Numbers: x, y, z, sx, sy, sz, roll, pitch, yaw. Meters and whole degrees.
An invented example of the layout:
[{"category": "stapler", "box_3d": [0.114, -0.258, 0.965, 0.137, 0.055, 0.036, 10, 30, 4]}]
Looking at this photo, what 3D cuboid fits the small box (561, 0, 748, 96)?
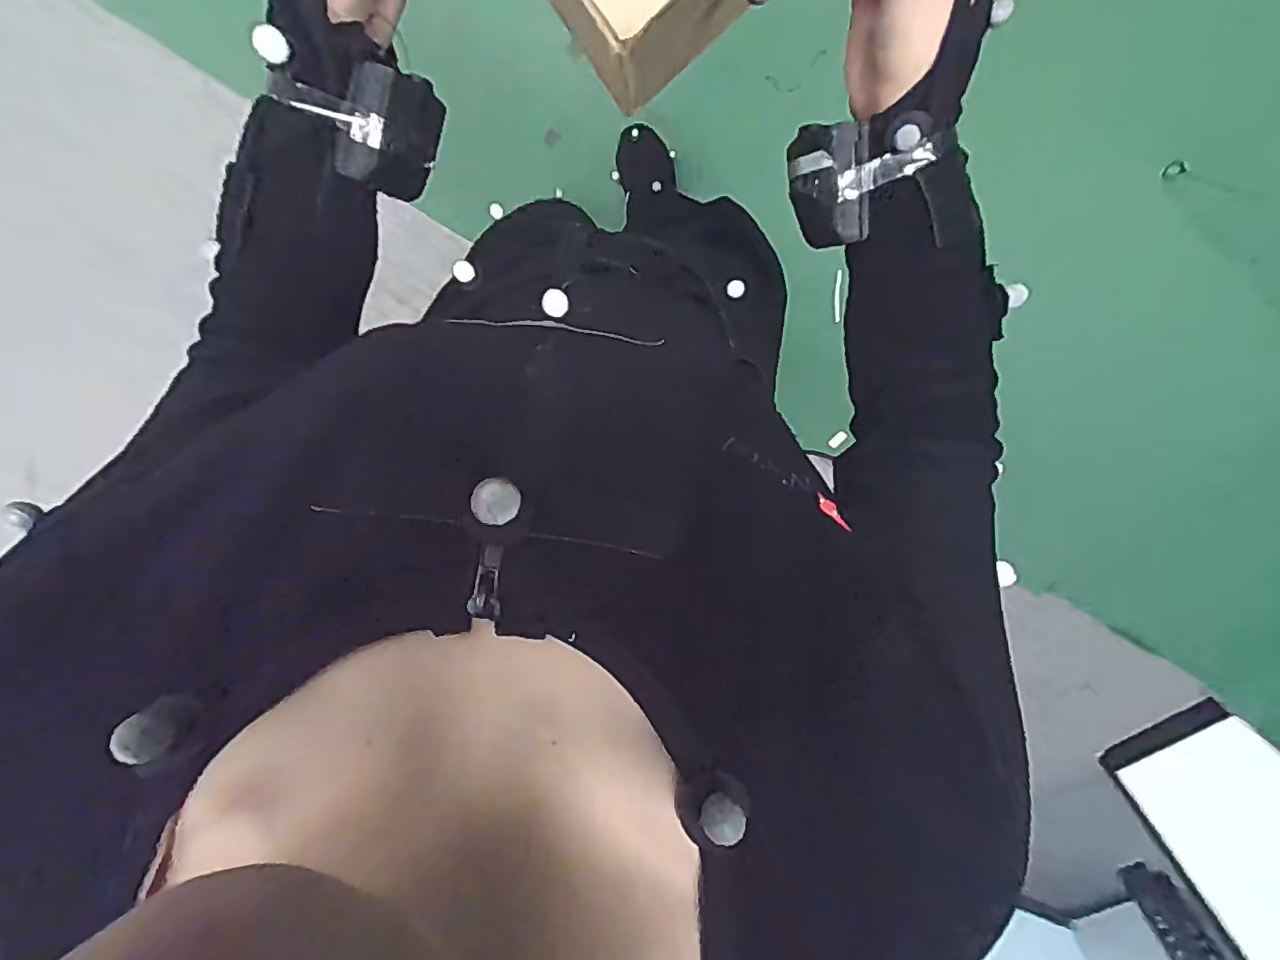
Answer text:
[{"category": "small box", "box_3d": [0.011, -0.305, 0.224, 0.179, 0.176, 0.168, -35, 112, 17]}]
